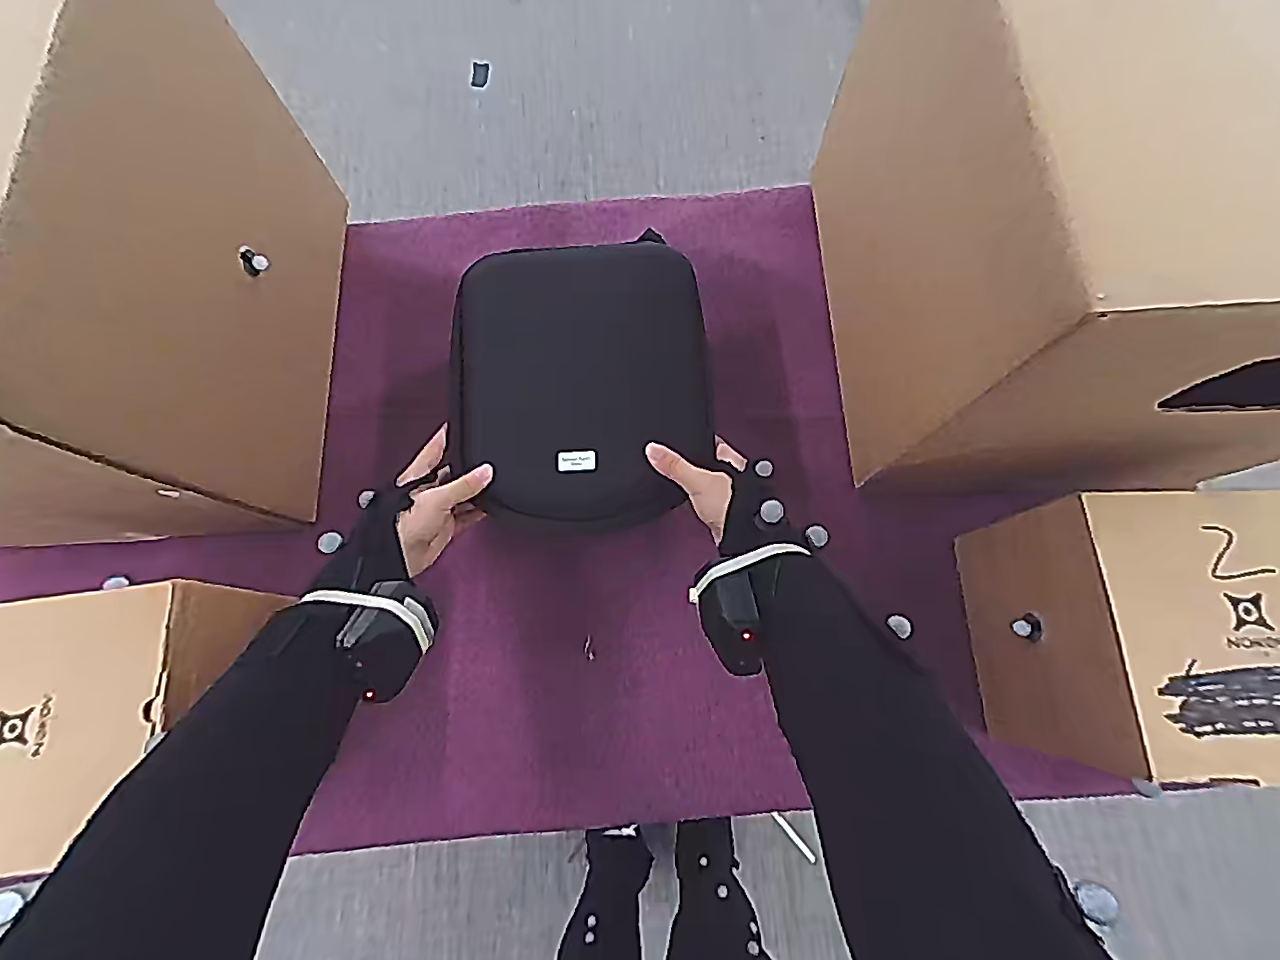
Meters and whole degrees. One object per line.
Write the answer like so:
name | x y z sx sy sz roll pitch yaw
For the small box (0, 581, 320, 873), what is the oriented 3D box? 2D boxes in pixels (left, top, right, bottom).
small box | -0.387 0.182 0.419 0.179 0.176 0.168 -8 72 -2

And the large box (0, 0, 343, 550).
large box | -0.487 -0.170 0.457 0.320 0.320 0.408 -5 75 -1
